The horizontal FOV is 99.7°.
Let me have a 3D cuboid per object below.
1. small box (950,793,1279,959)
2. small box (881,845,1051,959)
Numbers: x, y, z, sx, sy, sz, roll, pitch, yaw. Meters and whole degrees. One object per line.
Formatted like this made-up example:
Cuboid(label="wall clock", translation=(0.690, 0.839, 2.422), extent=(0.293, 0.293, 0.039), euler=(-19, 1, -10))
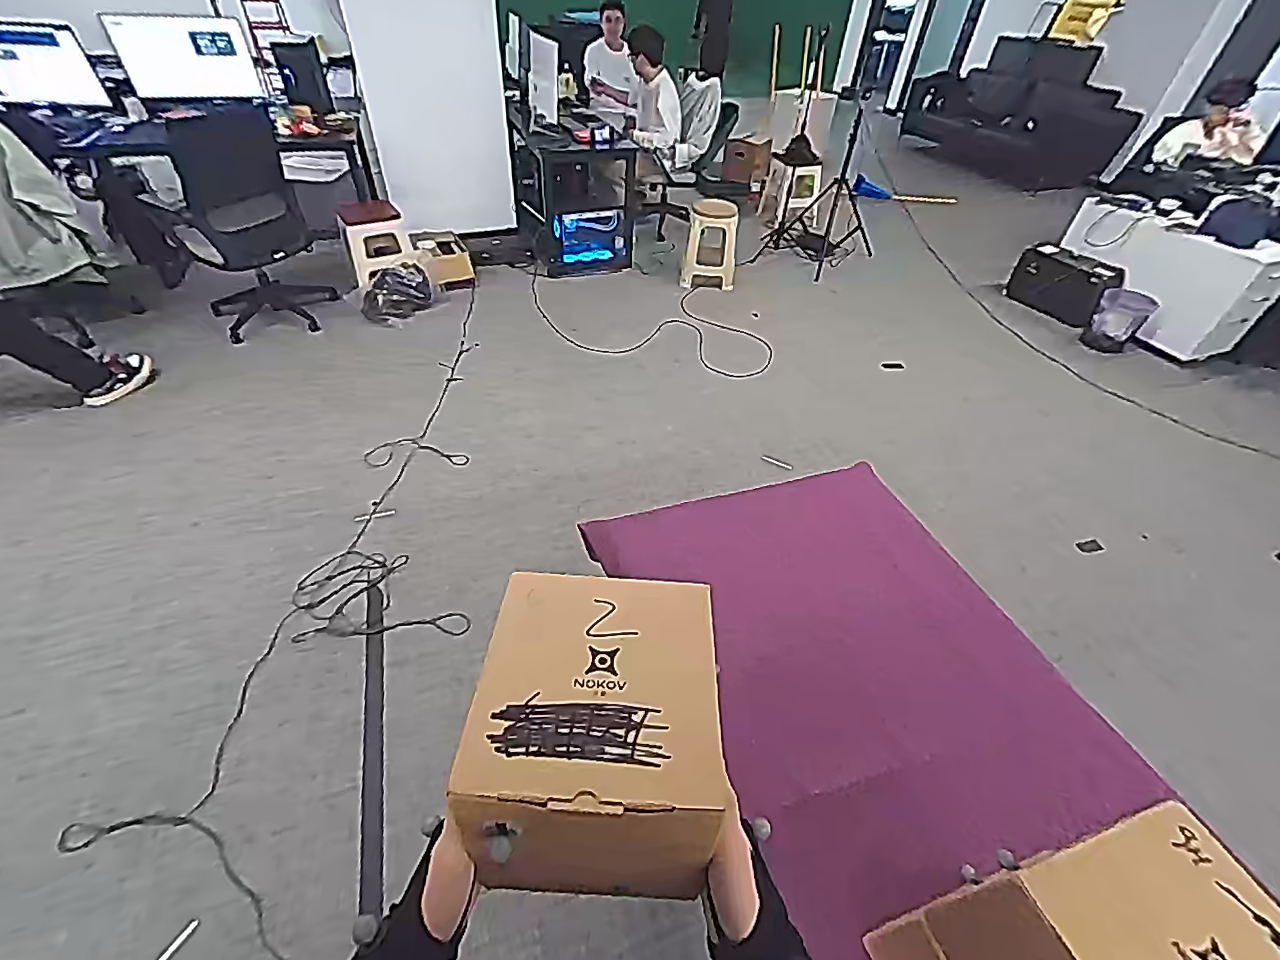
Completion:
Cuboid(label="small box", translation=(0.380, 0.384, 0.422), extent=(0.179, 0.176, 0.168), euler=(-11, 45, -15))
Cuboid(label="small box", translation=(0.368, 0.503, 0.534), extent=(0.179, 0.176, 0.168), euler=(-11, 45, -16))
